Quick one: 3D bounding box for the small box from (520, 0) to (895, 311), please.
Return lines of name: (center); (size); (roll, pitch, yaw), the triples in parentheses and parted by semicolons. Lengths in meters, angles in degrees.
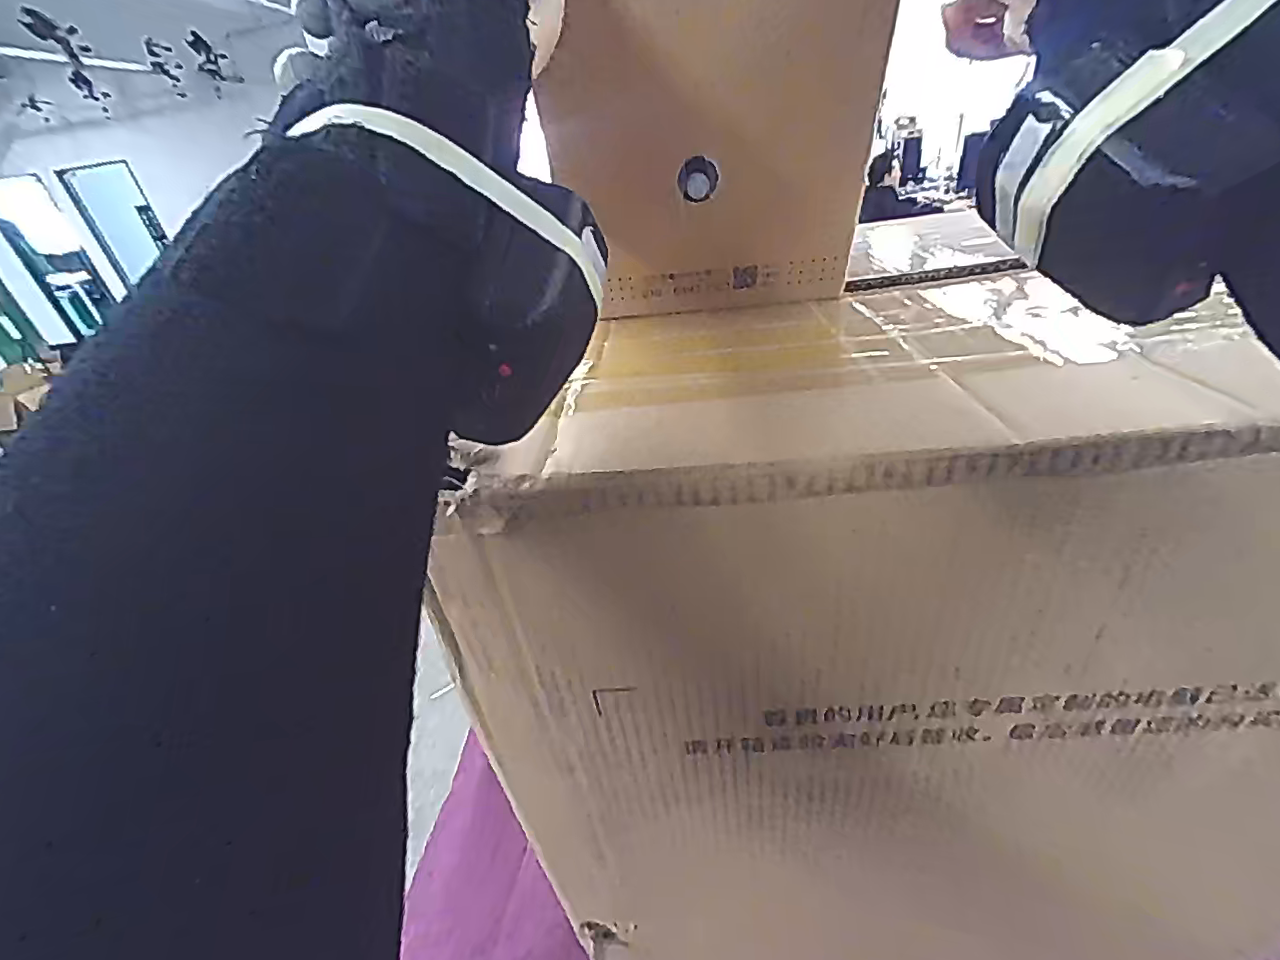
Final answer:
small box: (0.039, -0.219, 0.334); (0.168, 0.176, 0.179); (-3, 50, 5)
